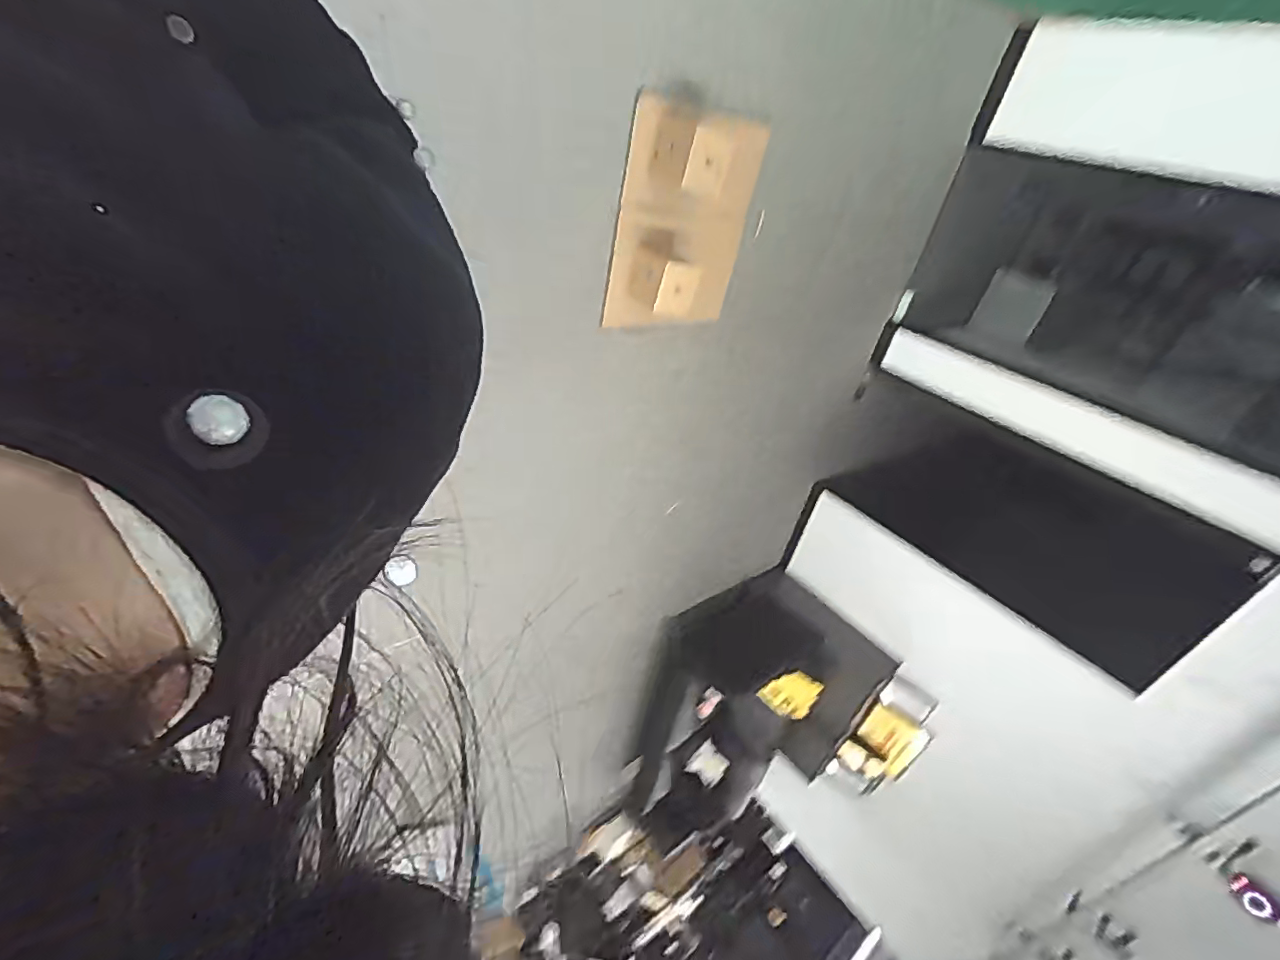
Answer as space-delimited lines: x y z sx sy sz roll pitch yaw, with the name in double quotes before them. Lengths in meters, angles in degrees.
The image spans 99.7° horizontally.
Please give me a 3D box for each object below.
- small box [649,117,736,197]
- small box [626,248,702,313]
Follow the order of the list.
"small box" 0.154 -0.987 1.653 0.179 0.176 0.168 -11 131 -41
"small box" 0.077 -0.683 1.851 0.179 0.176 0.168 -13 132 -40
